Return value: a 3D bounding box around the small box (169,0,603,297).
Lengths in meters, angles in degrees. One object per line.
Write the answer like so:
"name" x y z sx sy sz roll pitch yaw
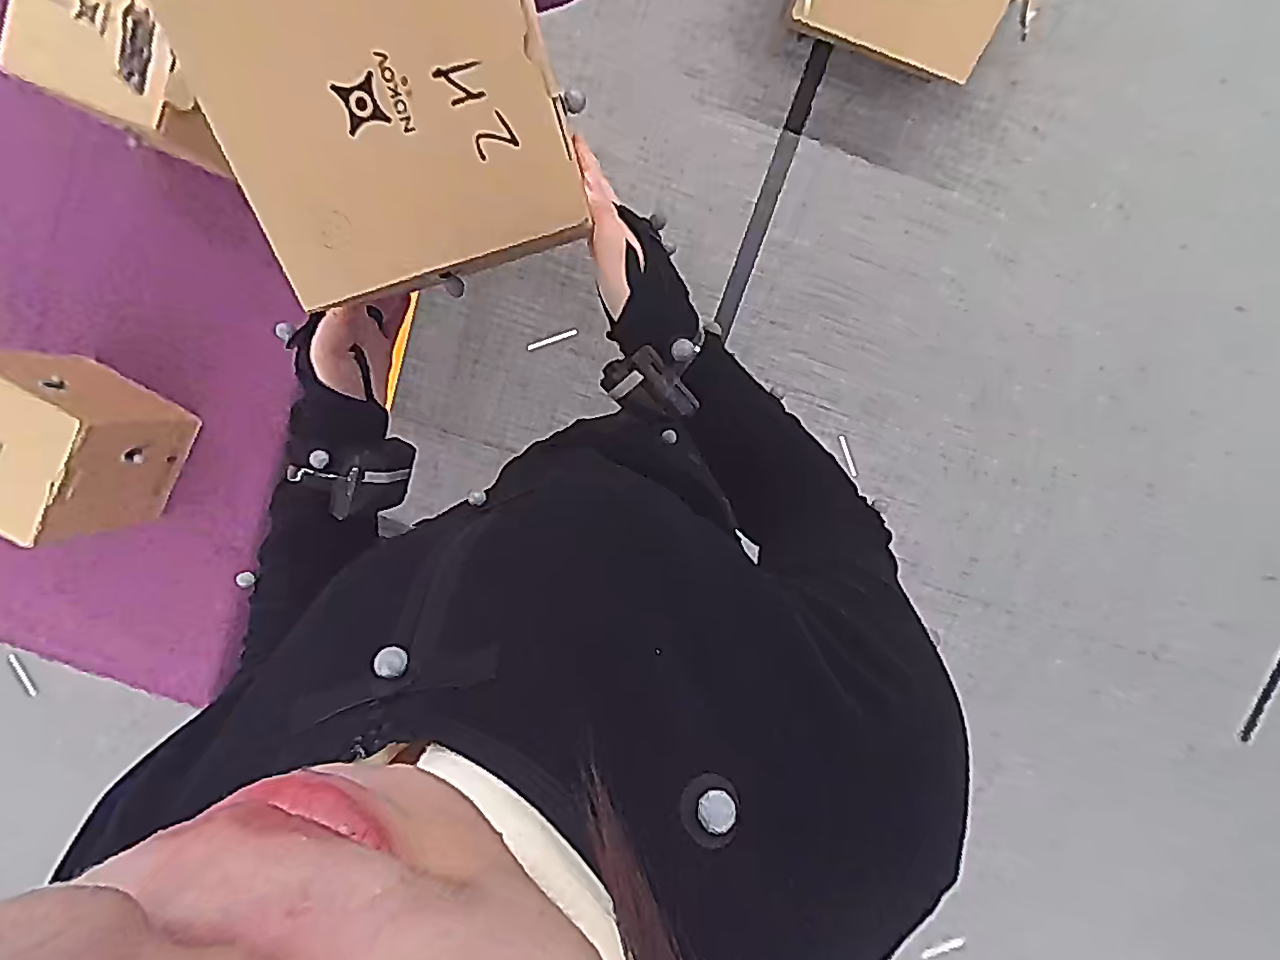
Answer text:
"small box" -0.129 -0.226 0.349 0.179 0.176 0.168 -15 113 4

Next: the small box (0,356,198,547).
"small box" -0.720 -0.045 0.678 0.179 0.176 0.168 30 97 -3

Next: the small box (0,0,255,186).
"small box" -0.533 -0.466 0.613 0.179 0.176 0.168 22 98 -1
